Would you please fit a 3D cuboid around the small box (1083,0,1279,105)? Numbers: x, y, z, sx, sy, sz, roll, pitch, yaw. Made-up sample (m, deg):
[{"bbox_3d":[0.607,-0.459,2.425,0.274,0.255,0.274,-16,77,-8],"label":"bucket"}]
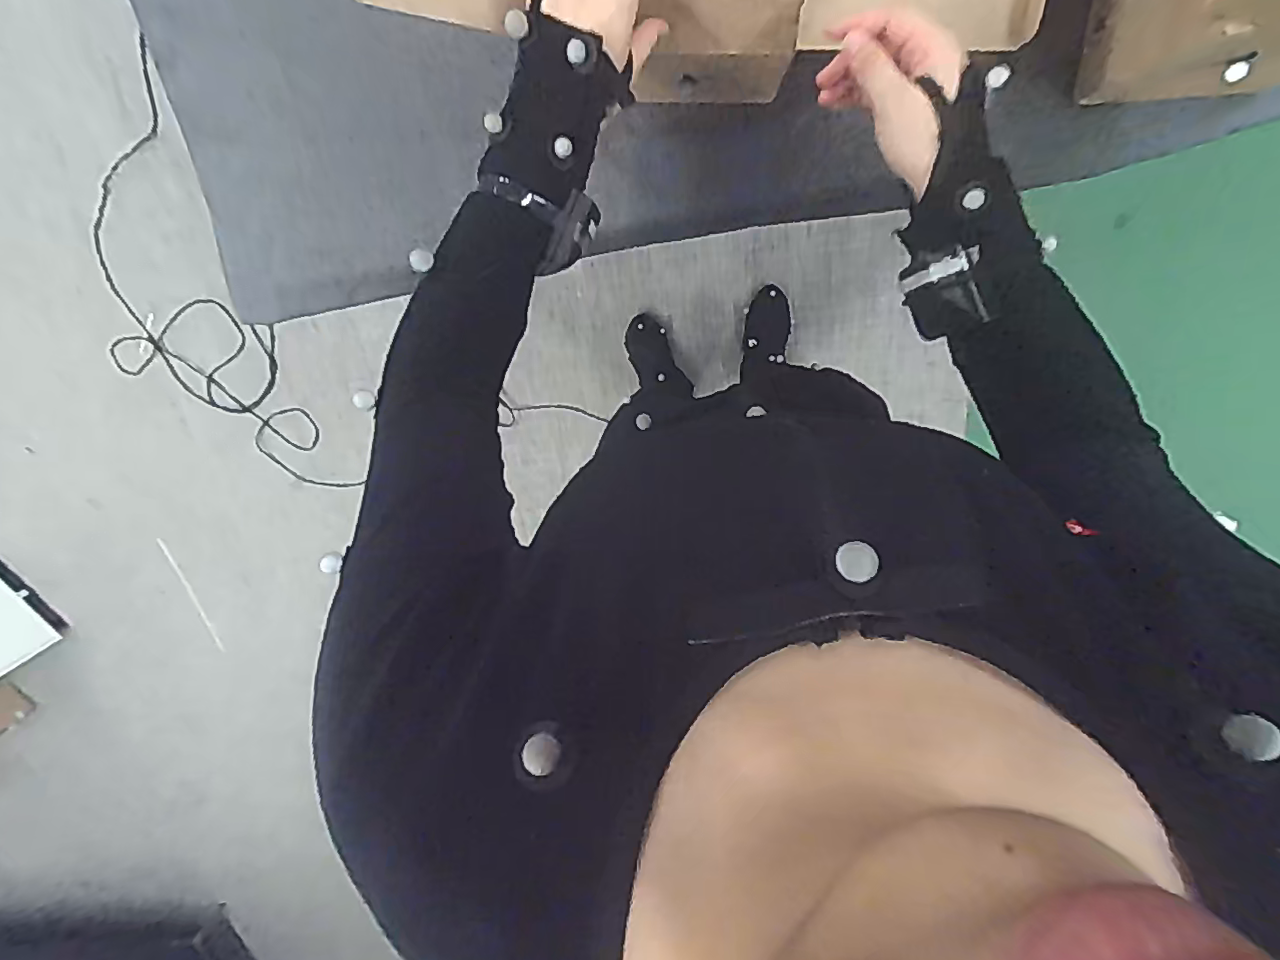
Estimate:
[{"bbox_3d":[0.514,-0.425,0.436,0.179,0.176,0.168,0,110,7],"label":"small box"}]
